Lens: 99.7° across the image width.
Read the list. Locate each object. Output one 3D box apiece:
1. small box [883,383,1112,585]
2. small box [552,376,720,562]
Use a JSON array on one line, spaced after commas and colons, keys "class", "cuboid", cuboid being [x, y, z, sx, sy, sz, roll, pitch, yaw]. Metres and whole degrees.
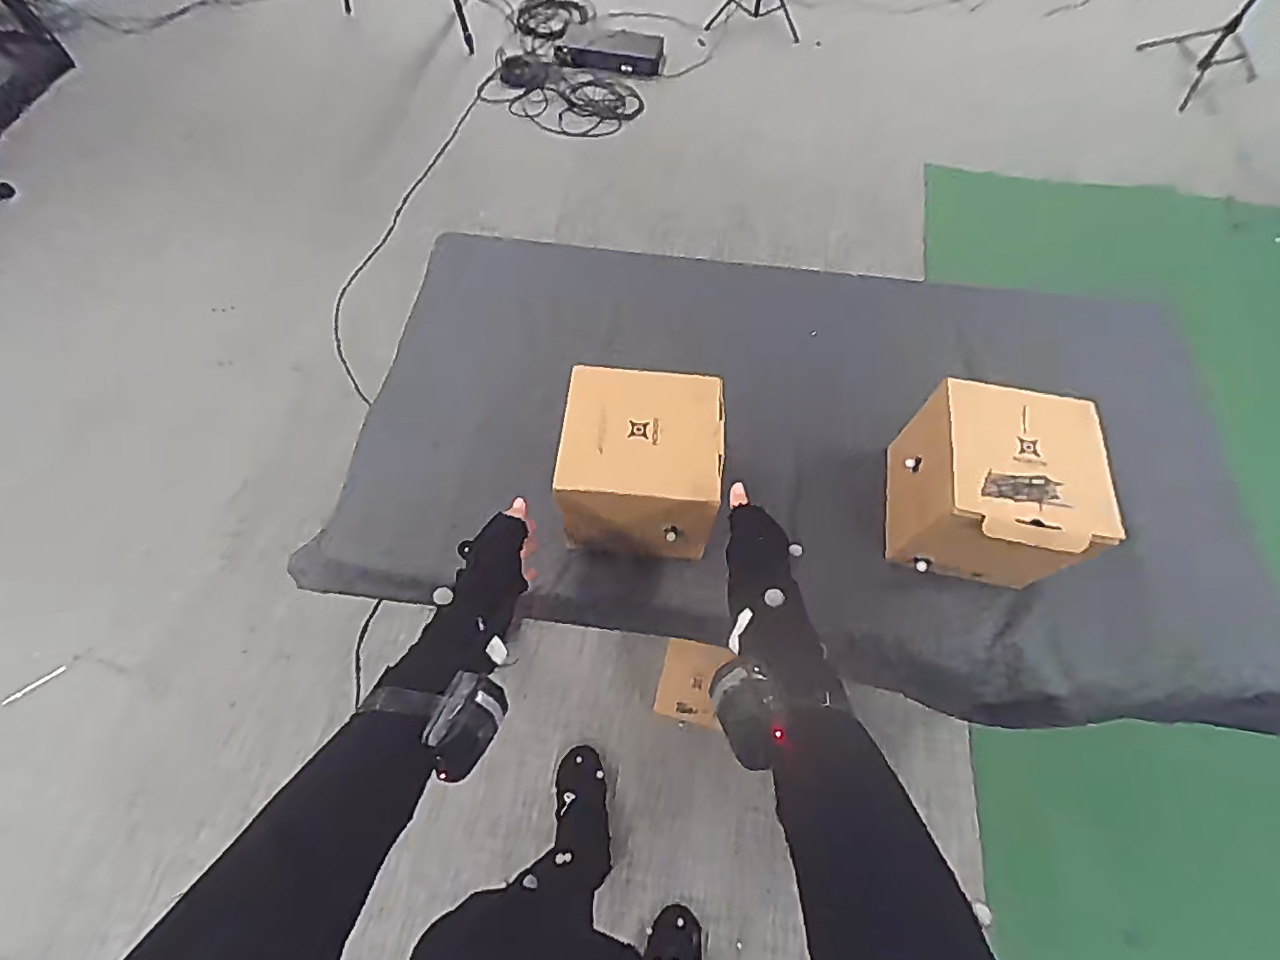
[{"class": "small box", "cuboid": [0.410, 0.013, 0.654, 0.168, 0.176, 0.179, 11, 63, 5]}, {"class": "small box", "cuboid": [0.000, -0.006, 0.664, 0.179, 0.176, 0.168, 3, 60, 2]}]
